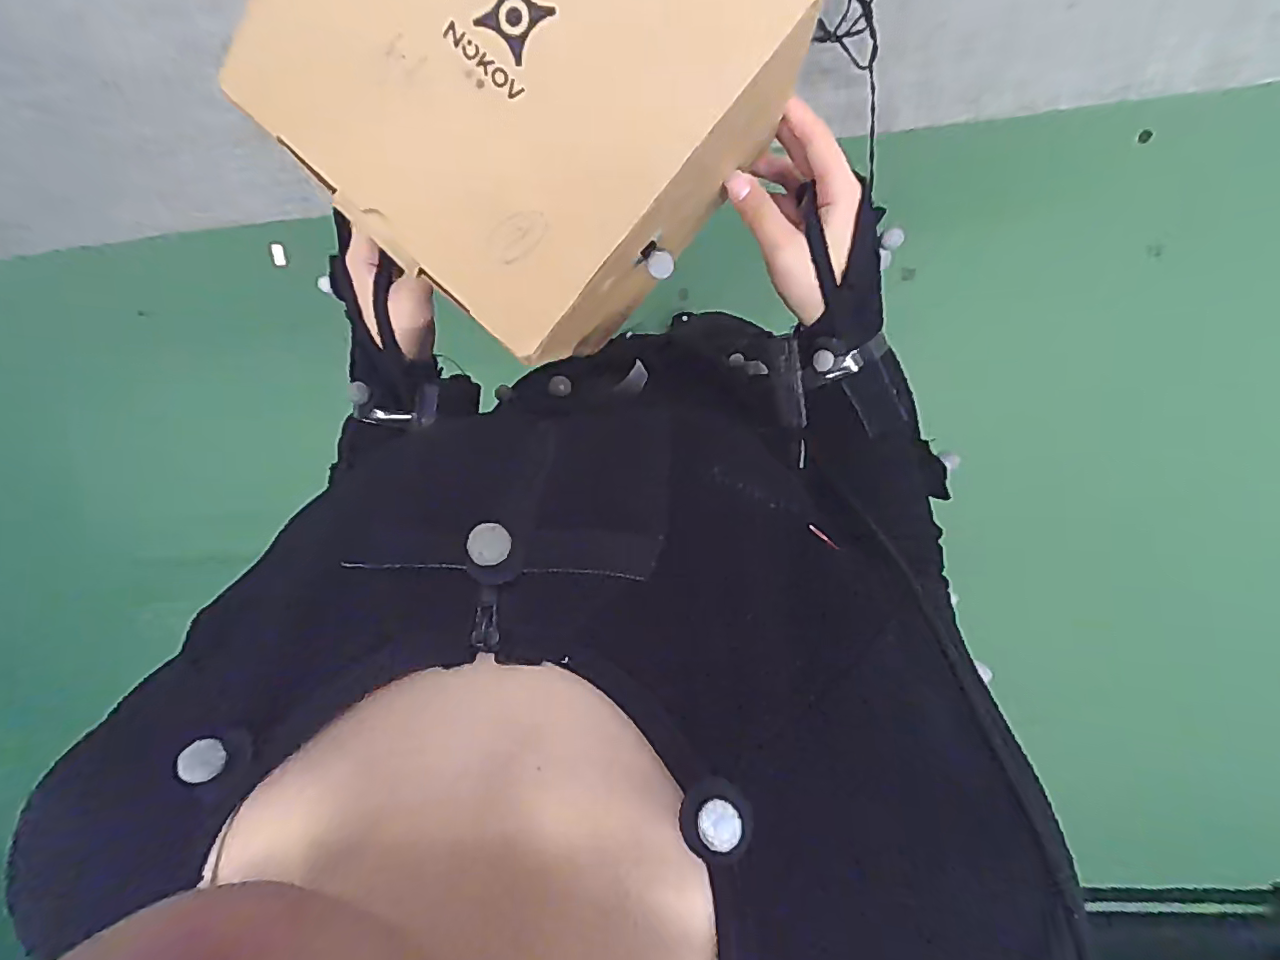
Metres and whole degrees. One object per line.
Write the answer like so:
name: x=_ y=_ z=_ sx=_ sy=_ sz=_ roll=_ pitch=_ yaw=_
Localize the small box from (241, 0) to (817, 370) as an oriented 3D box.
small box: x=-0.040 y=-0.179 z=0.282 sx=0.168 sy=0.176 sz=0.179 roll=43 pitch=105 yaw=-5
